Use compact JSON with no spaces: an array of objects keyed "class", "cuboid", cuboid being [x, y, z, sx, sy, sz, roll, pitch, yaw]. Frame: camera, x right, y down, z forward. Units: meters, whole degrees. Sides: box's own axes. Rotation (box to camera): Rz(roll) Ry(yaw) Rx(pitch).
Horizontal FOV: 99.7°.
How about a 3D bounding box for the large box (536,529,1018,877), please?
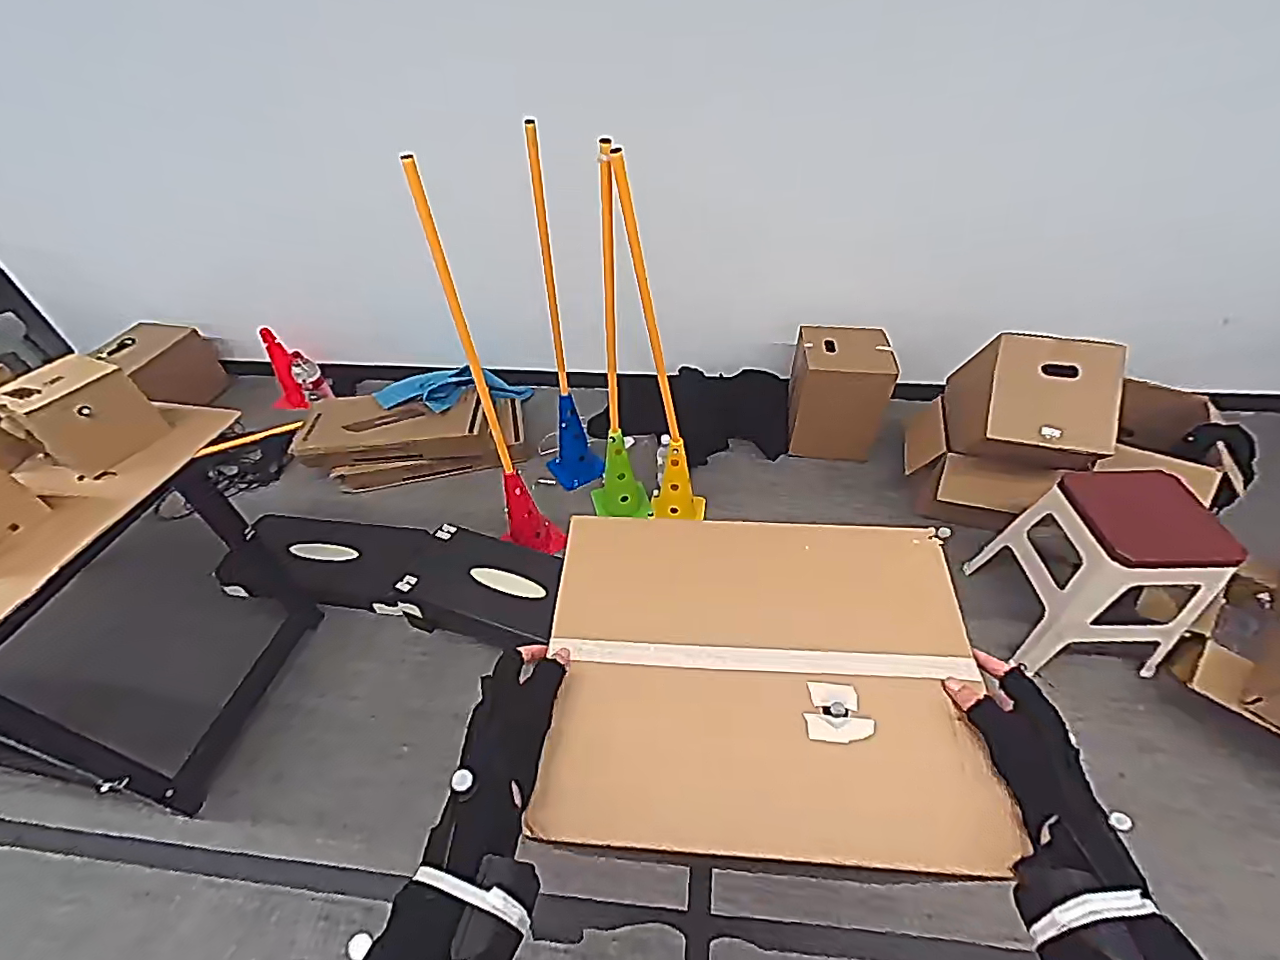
[{"class":"large box","cuboid":[0.120,0.273,0.651,0.408,0.320,0.320,2,54,4]}]
